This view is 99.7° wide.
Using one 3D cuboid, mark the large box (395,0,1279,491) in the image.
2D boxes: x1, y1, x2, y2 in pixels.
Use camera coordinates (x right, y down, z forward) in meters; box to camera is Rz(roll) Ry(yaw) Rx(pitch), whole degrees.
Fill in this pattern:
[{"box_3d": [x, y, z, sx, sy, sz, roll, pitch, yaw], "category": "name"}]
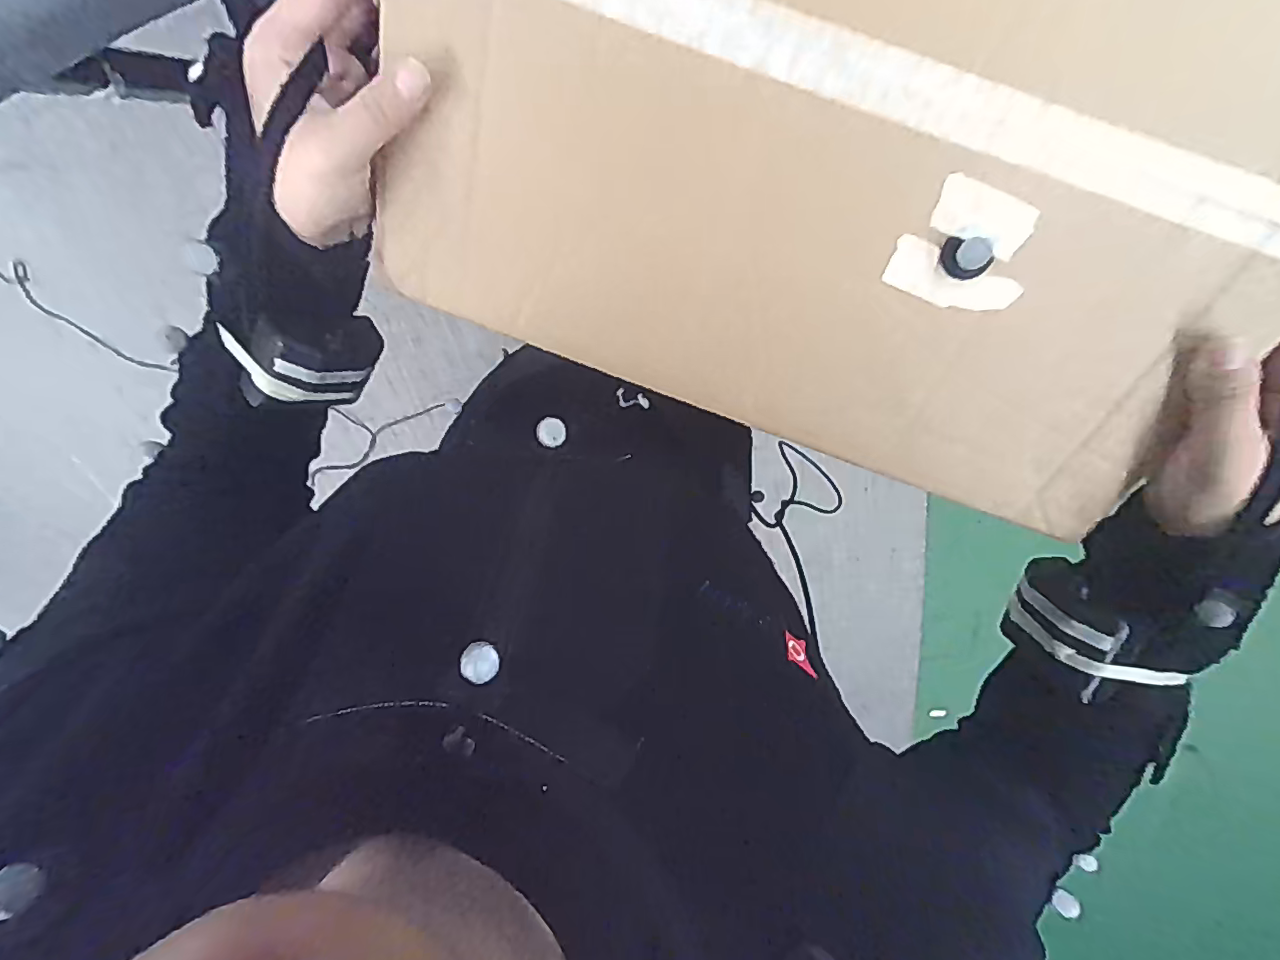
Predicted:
[{"box_3d": [0.120, -0.250, 0.338, 0.408, 0.320, 0.320, 19, 122, 0], "category": "large box"}]
